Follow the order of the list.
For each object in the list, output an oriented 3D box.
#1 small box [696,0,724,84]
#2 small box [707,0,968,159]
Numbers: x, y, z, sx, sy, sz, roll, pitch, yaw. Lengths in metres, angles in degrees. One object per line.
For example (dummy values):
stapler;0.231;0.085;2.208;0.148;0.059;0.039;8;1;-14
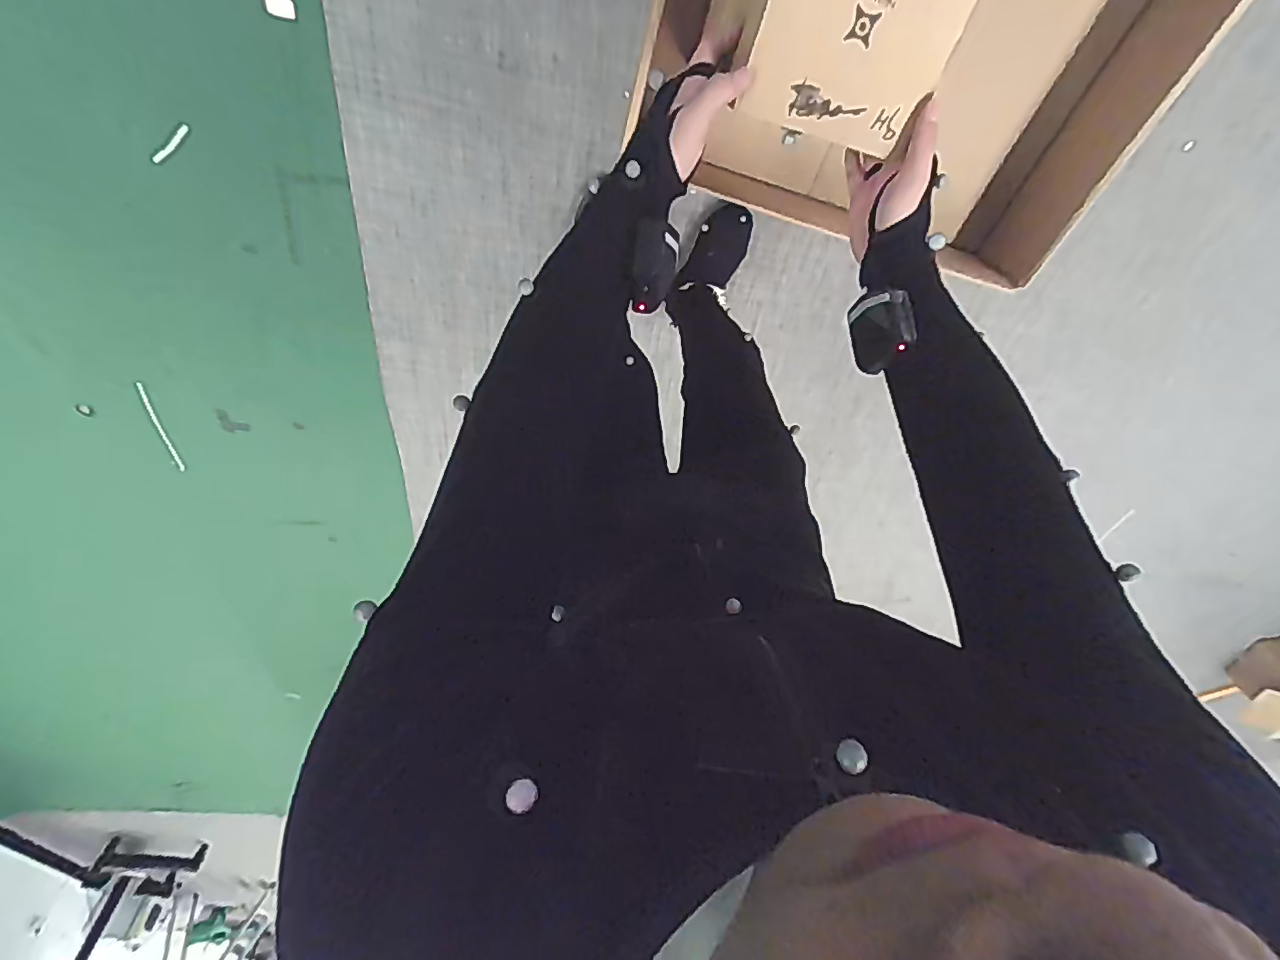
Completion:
small box;0.167;-0.540;0.611;0.168;0.176;0.179;11;131;-10
small box;0.168;-0.424;0.486;0.168;0.176;0.179;10;130;-11
